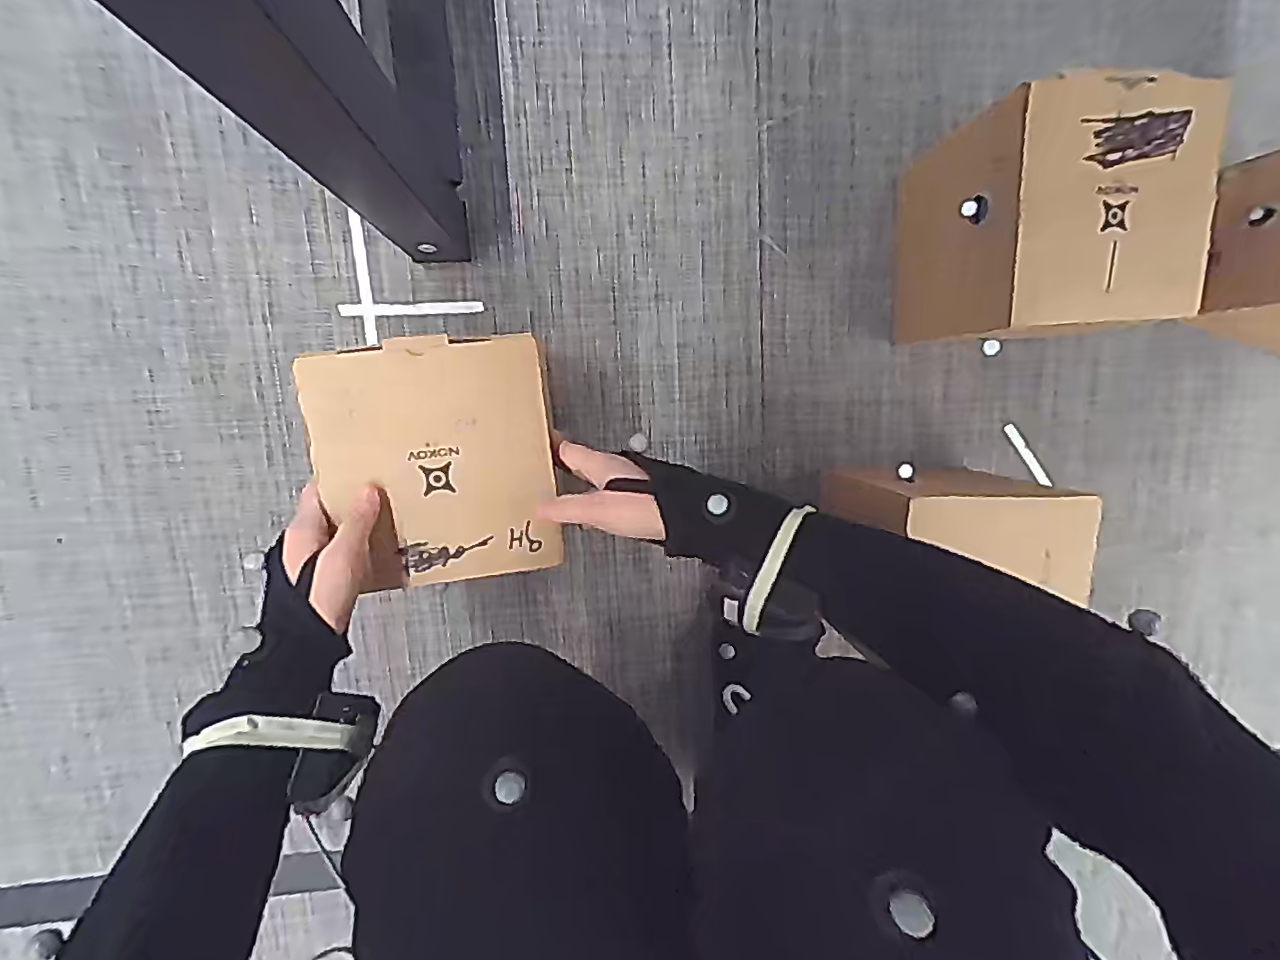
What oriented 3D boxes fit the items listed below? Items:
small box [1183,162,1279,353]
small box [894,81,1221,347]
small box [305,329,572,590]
[{"bbox_3d":[0.708,-0.225,0.530,0.179,0.176,0.168,14,97,-7],"label":"small box"},{"bbox_3d":[0.353,-0.221,0.491,0.168,0.176,0.179,-4,99,-5],"label":"small box"},{"bbox_3d":[-0.152,-0.023,0.465,0.168,0.176,0.179,-7,99,-7],"label":"small box"}]
